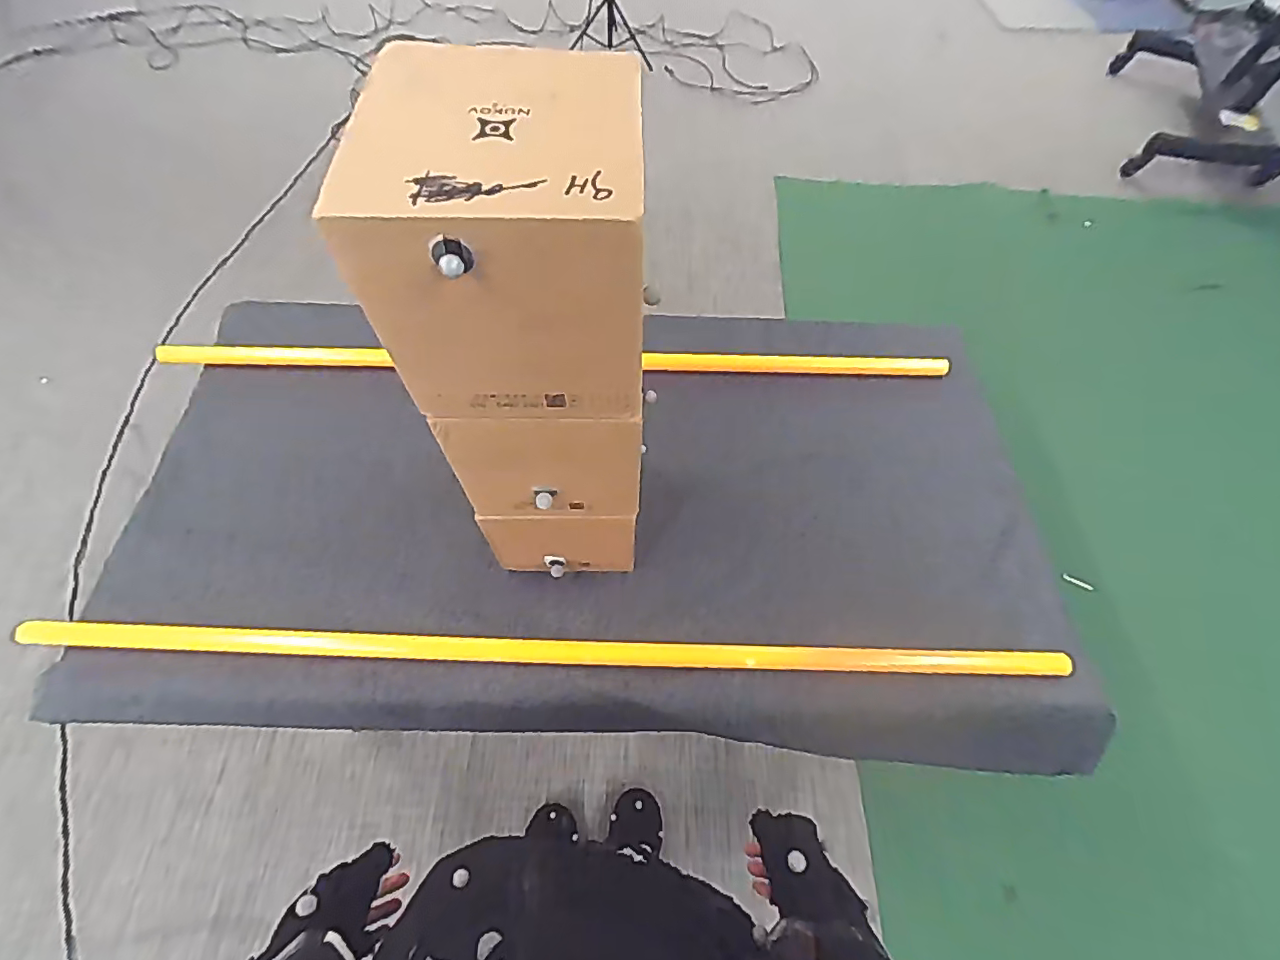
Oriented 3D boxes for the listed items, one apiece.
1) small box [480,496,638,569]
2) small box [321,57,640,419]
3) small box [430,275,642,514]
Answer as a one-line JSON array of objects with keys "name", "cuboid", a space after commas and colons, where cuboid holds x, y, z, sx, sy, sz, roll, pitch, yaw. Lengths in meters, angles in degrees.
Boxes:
[{"name": "small box", "cuboid": [-0.088, 0.000, 0.671, 0.168, 0.176, 0.179, -1, 62, -1]}, {"name": "small box", "cuboid": [-0.083, -0.164, 0.387, 0.168, 0.176, 0.179, 0, 60, 0]}, {"name": "small box", "cuboid": [-0.083, -0.082, 0.528, 0.168, 0.176, 0.179, 0, 61, -1]}]
